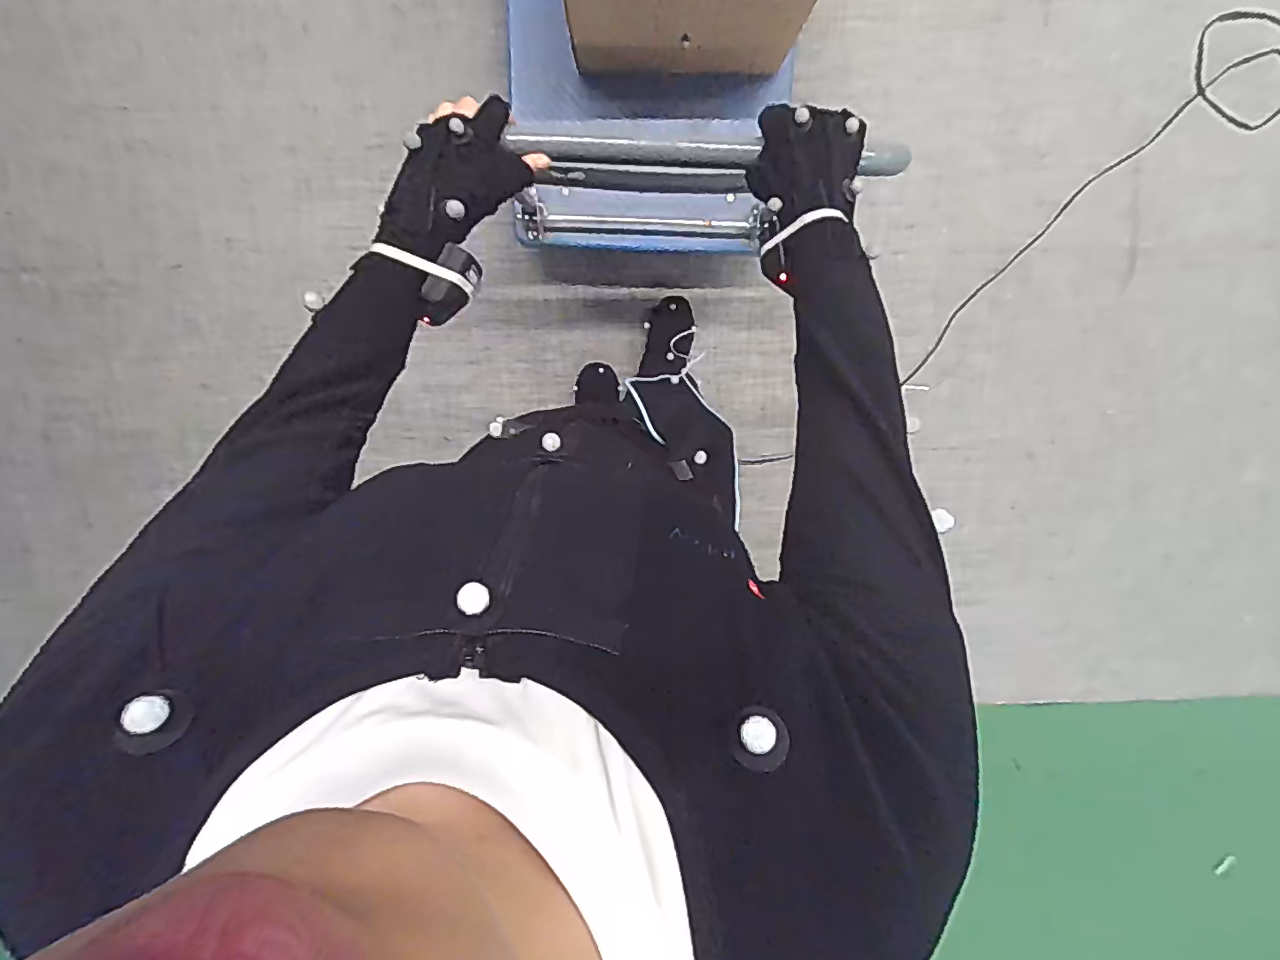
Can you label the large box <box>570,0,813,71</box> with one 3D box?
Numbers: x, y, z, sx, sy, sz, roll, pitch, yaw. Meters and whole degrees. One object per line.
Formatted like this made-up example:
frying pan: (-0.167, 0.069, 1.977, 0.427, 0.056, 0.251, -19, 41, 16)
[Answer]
large box: (0.082, -0.943, 0.917, 0.408, 0.320, 0.320, -1, 105, 0)
